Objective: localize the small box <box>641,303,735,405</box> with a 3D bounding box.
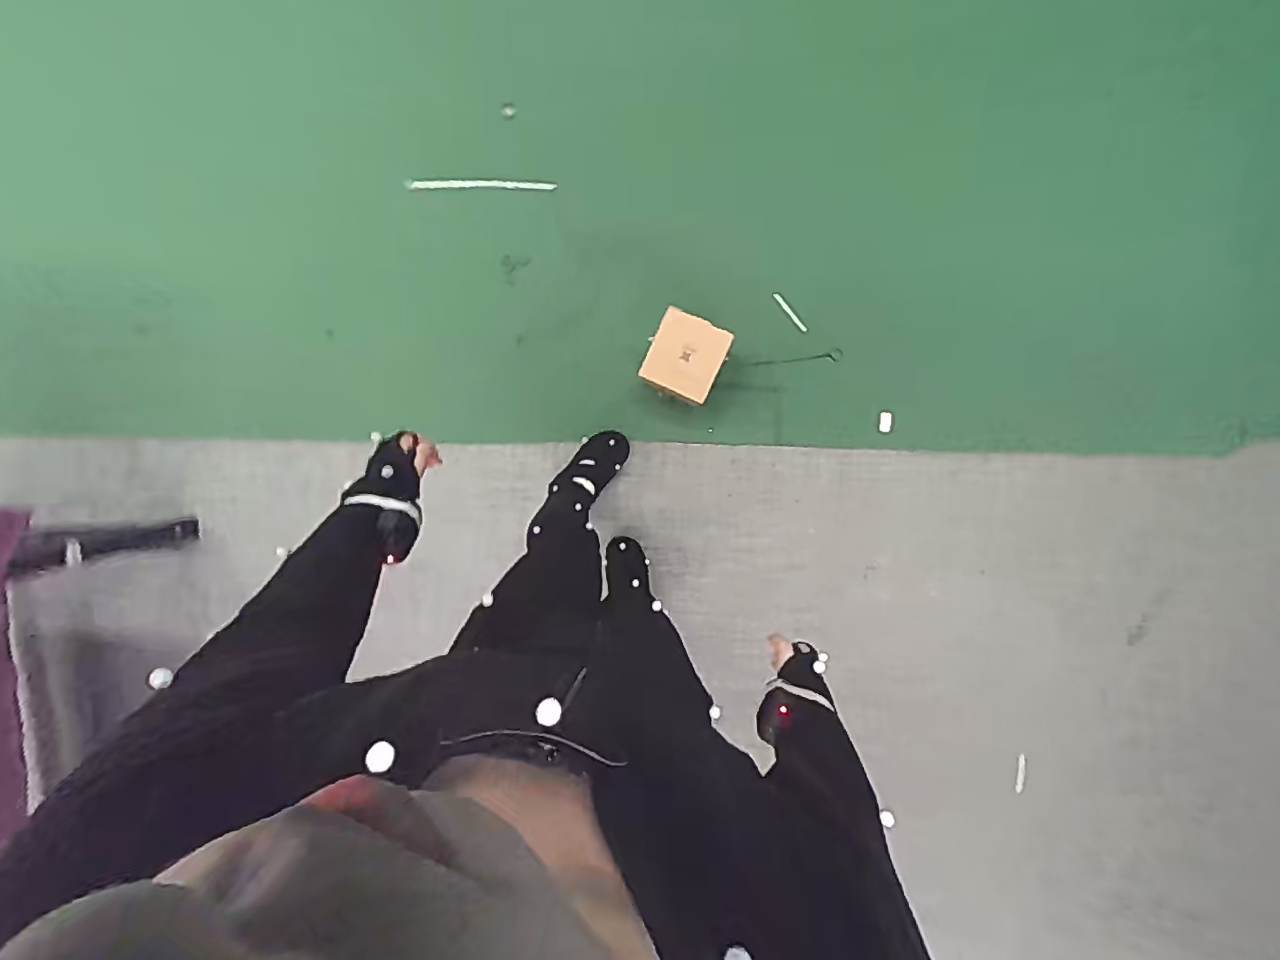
[{"bbox_3d":[0.109,-0.298,1.318,0.168,0.176,0.179,26,95,-1],"label":"small box"}]
